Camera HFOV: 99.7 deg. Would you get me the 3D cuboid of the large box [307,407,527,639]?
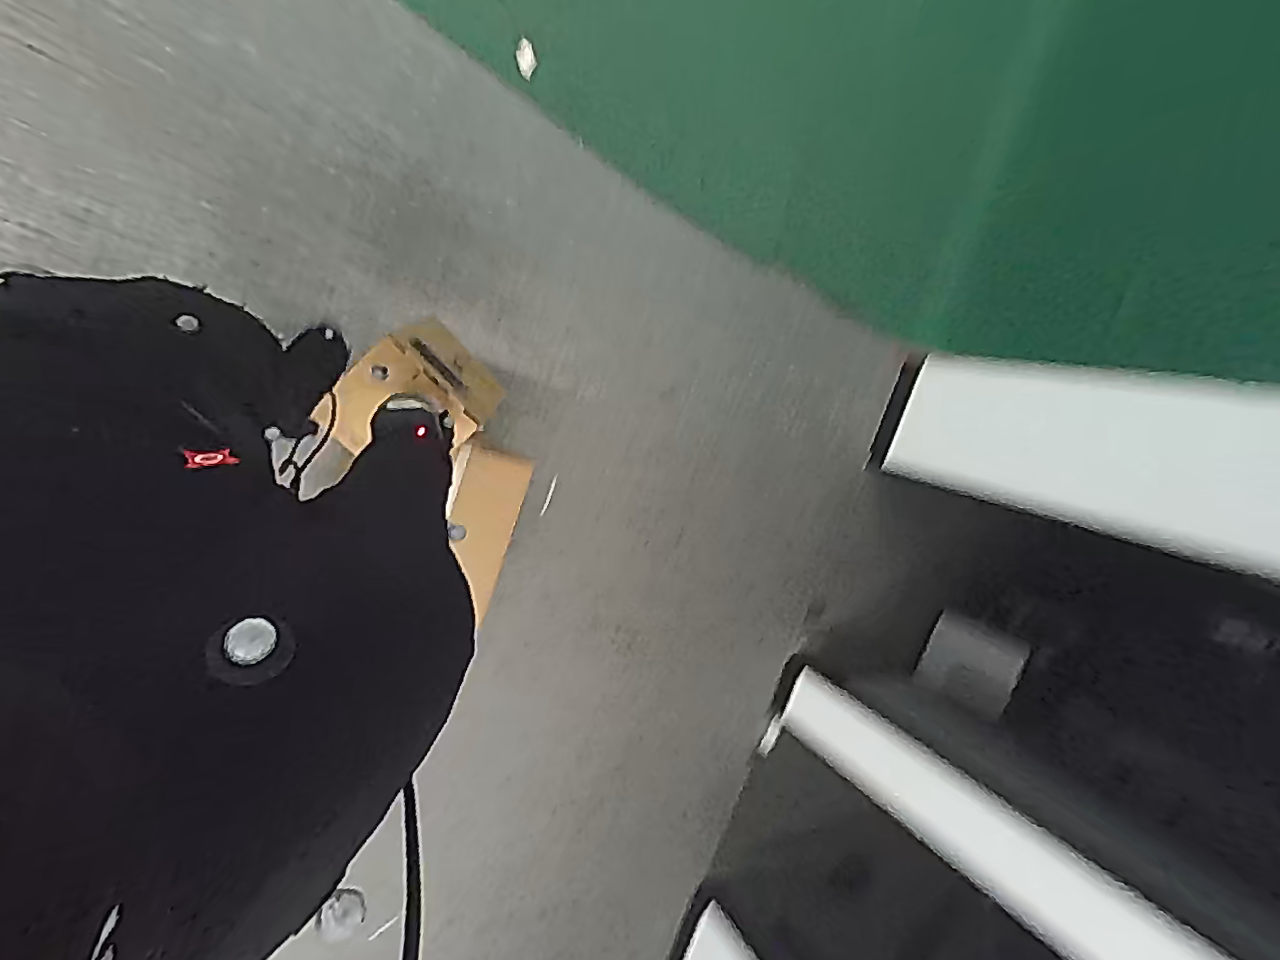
[{"bbox_3d":[-0.503,0.091,1.197,0.320,0.320,0.408,16,97,-37],"label":"large box"}]
